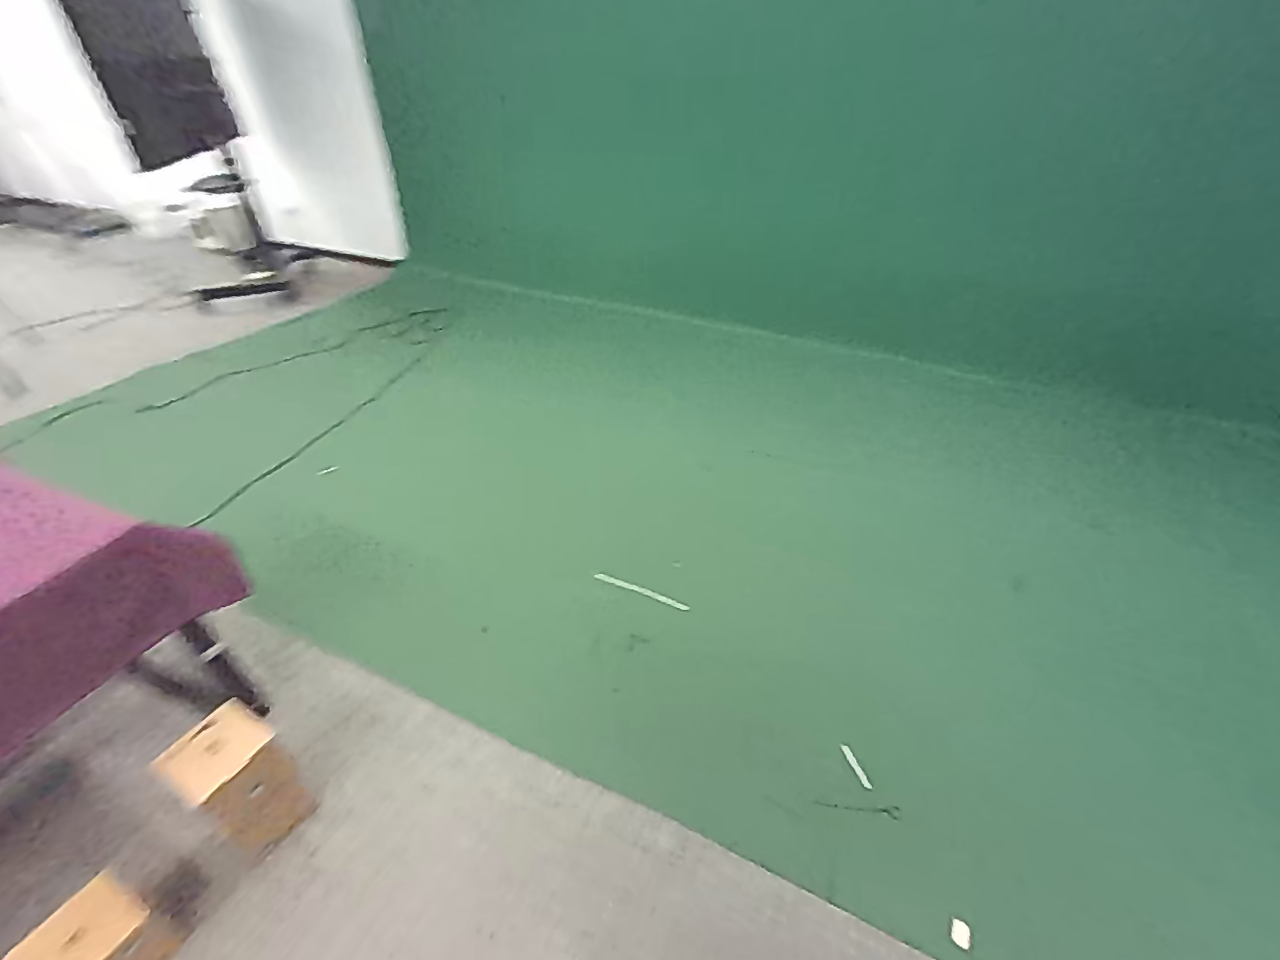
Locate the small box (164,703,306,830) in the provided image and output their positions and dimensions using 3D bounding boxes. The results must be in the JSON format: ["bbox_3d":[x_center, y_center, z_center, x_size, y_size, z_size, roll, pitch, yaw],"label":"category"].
[{"bbox_3d":[-0.902,0.651,1.222,0.179,0.176,0.168,21,41,22],"label":"small box"}]

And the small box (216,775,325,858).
[{"bbox_3d":[-0.913,0.782,1.321,0.179,0.176,0.168,22,42,26],"label":"small box"}]
